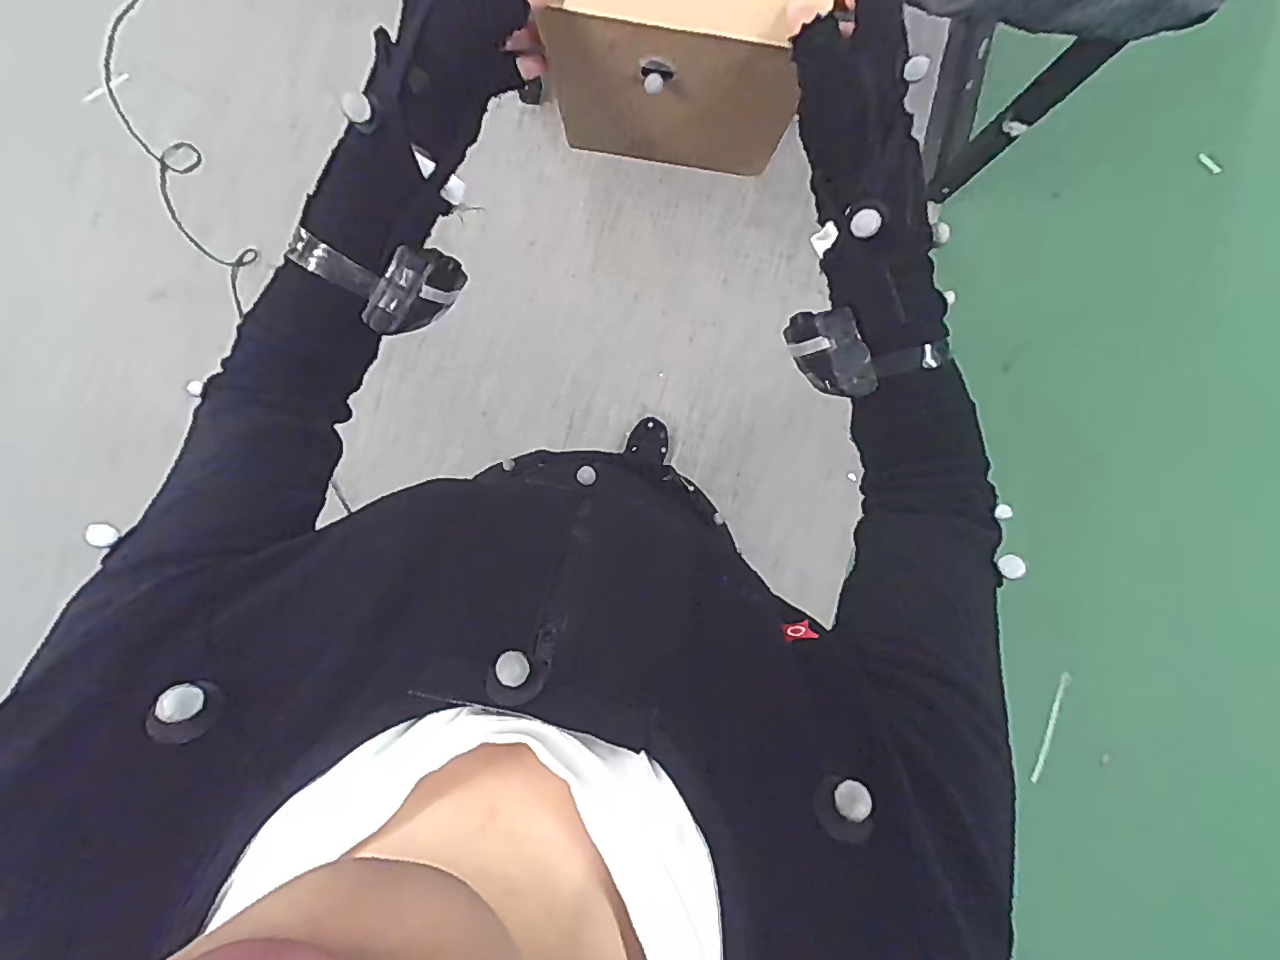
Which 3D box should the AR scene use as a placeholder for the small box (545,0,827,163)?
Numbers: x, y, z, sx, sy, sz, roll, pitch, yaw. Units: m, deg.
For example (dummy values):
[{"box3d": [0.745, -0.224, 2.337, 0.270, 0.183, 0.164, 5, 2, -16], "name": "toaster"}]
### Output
[{"box3d": [0.036, -0.359, 0.390, 0.179, 0.176, 0.168, 9, 96, -1], "name": "small box"}]
